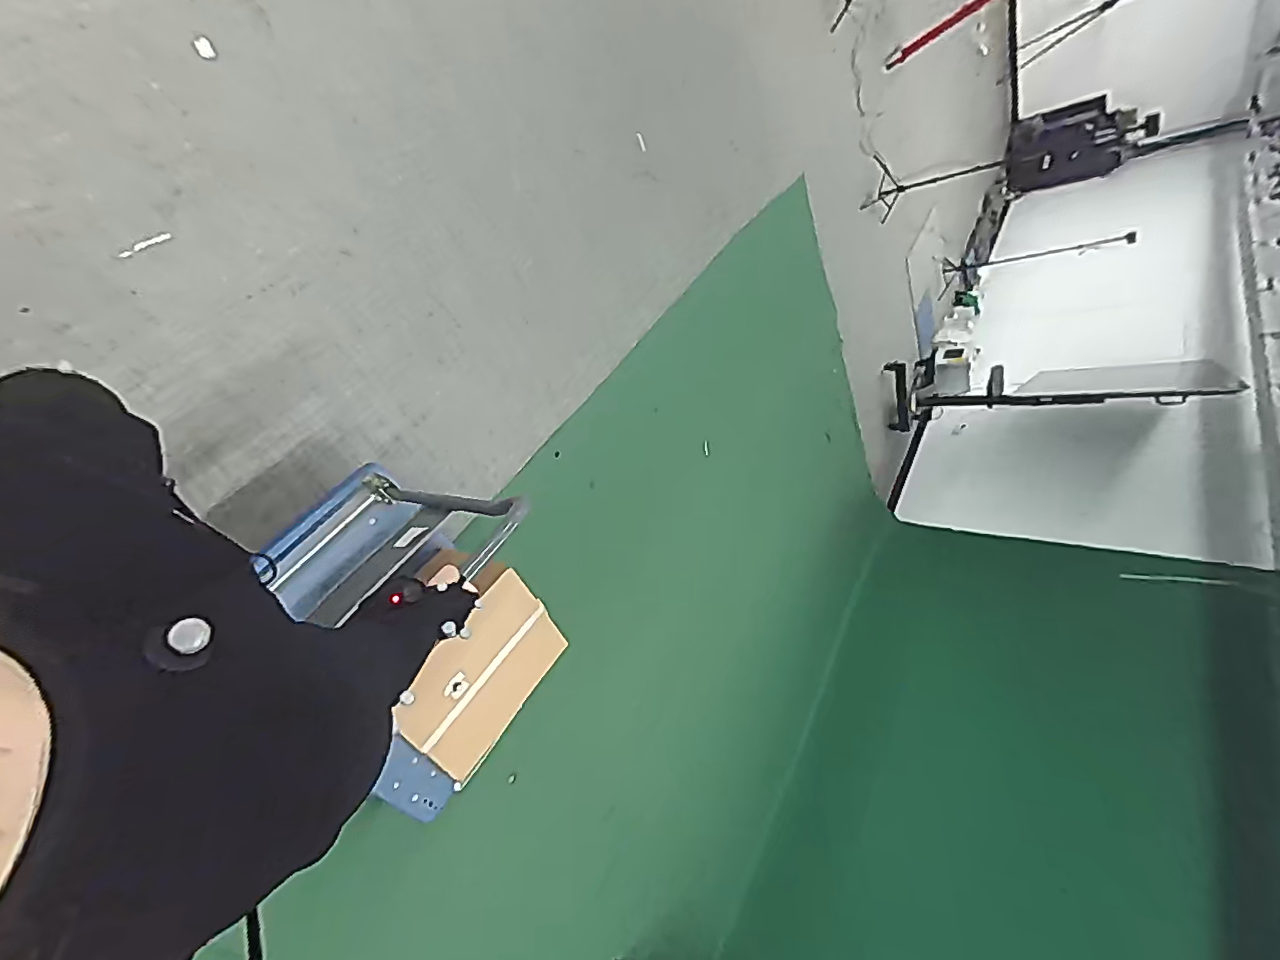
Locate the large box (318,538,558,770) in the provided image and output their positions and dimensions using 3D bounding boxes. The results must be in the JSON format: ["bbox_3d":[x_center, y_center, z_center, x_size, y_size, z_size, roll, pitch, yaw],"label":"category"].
[{"bbox_3d":[-0.490,0.409,1.358,0.408,0.320,0.320,-50,128,-32],"label":"large box"}]
